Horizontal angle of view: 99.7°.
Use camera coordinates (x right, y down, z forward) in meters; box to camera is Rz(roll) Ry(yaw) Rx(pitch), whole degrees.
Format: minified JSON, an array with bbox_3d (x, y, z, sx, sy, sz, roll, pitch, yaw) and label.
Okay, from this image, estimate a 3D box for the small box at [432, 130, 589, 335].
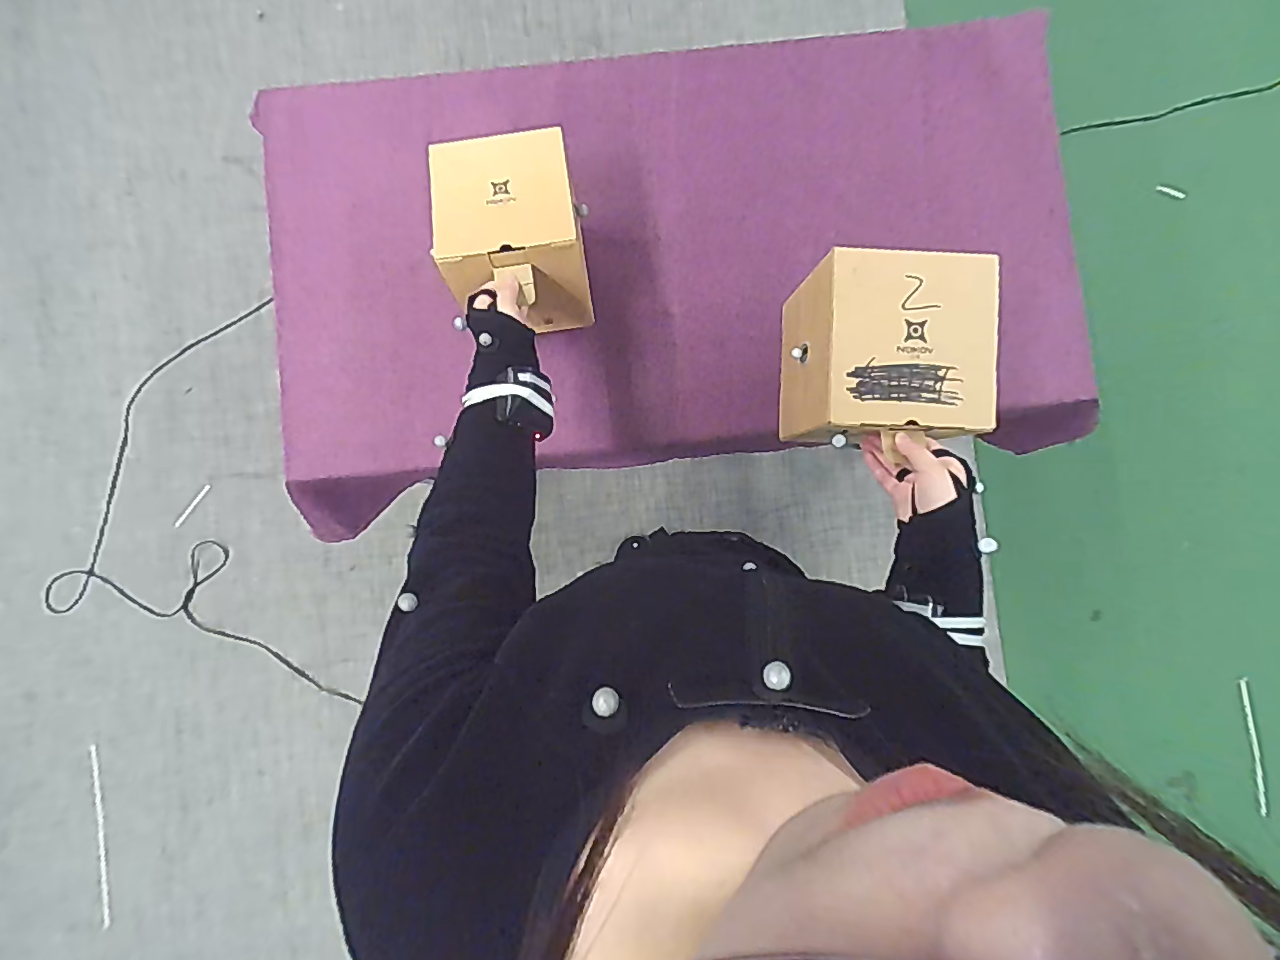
[{"bbox_3d":[-0.166,-0.322,0.726,0.168,0.176,0.179,-9,73,-1],"label":"small box"}]
